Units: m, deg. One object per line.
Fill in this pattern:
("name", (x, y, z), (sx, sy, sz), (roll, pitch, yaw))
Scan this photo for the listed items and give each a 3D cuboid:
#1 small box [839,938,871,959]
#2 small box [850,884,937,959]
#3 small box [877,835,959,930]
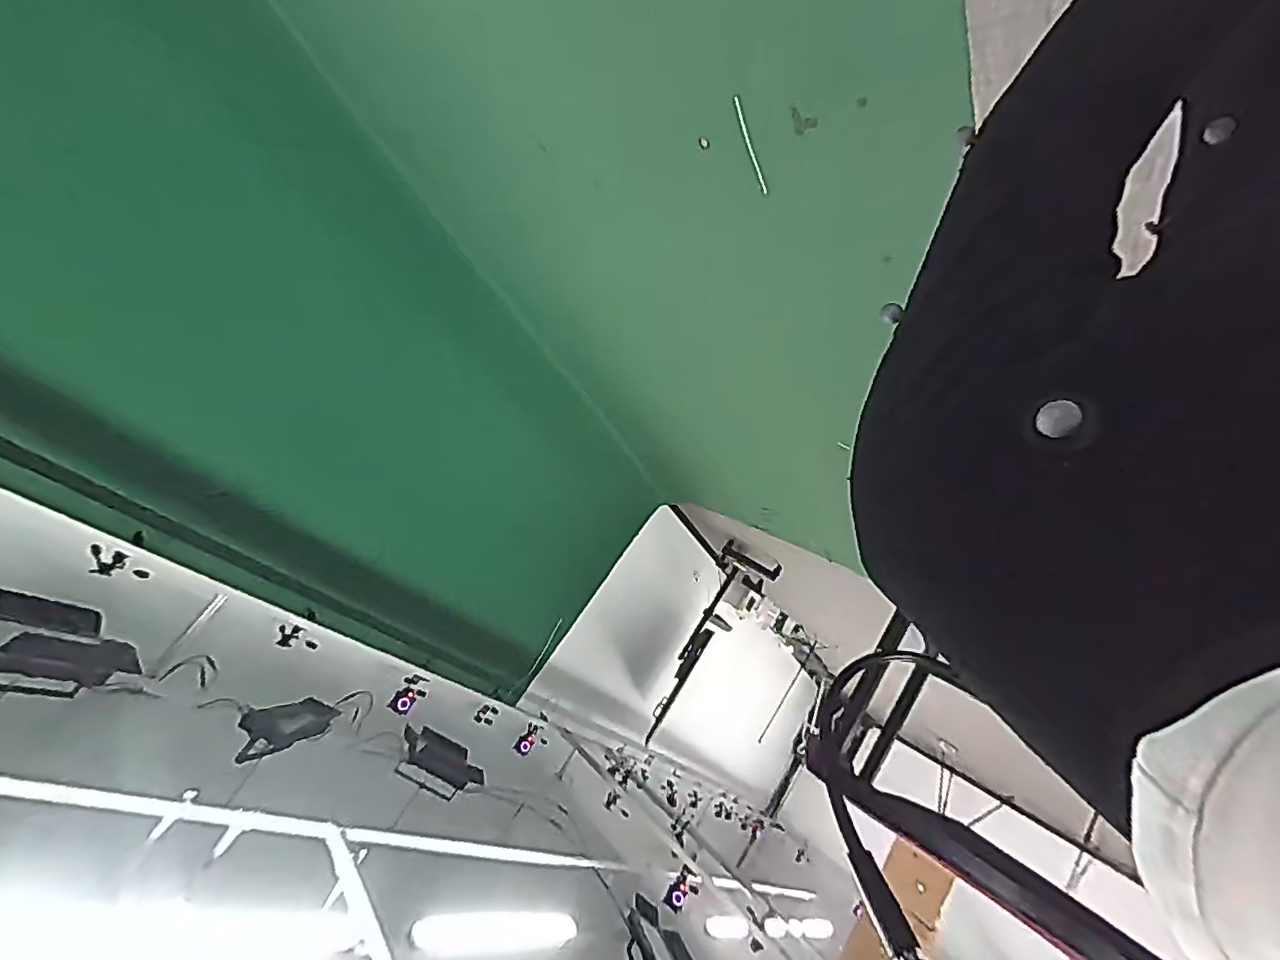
("small box", (0.665, 1.474, 1.564), (0.179, 0.176, 0.168), (23, 161, 43))
("small box", (0.753, 1.339, 1.594), (0.179, 0.176, 0.168), (22, 160, 44))
("small box", (0.847, 1.212, 1.640), (0.168, 0.176, 0.179), (23, 162, 41))
